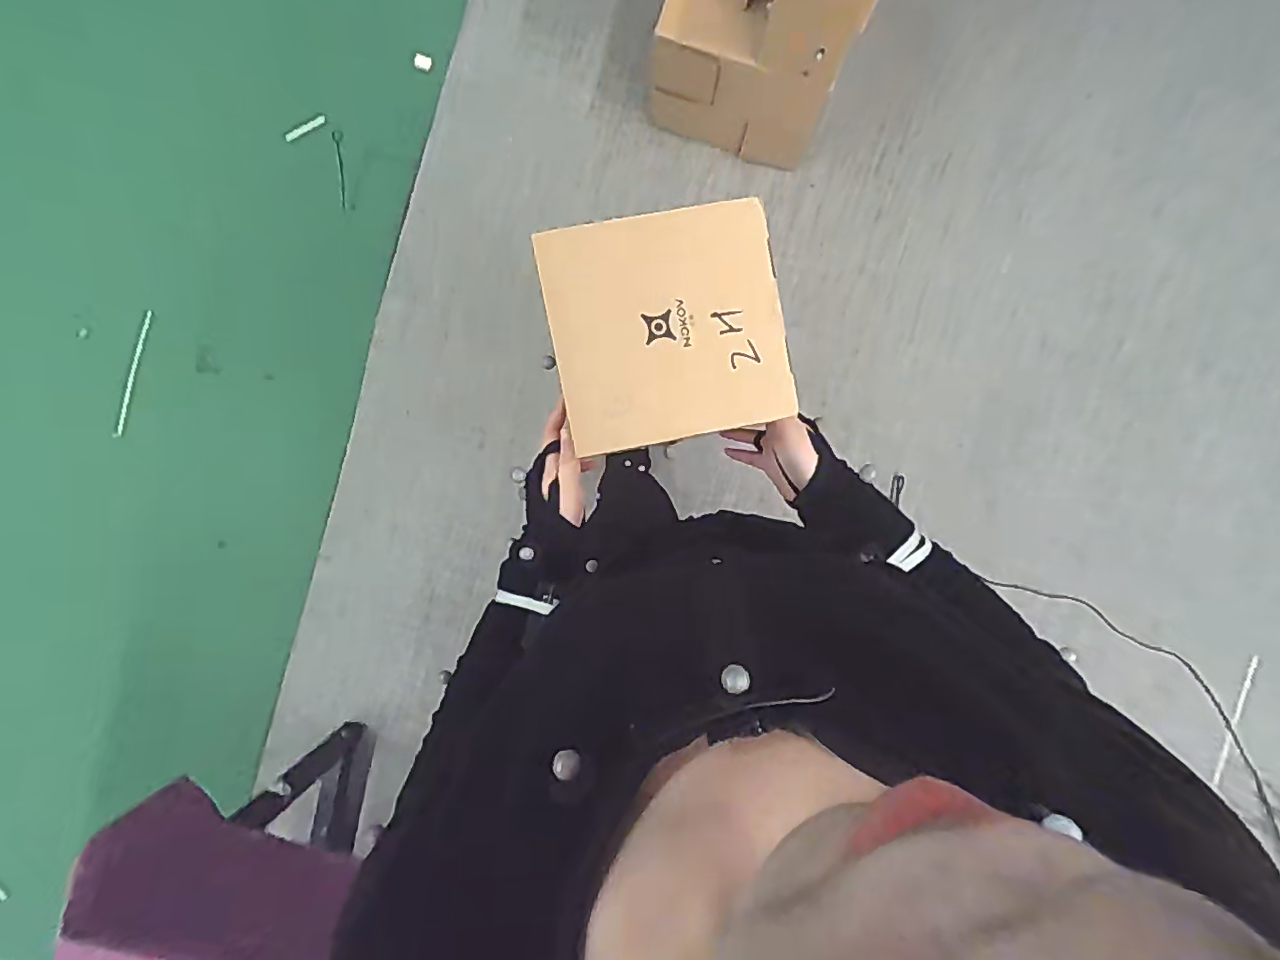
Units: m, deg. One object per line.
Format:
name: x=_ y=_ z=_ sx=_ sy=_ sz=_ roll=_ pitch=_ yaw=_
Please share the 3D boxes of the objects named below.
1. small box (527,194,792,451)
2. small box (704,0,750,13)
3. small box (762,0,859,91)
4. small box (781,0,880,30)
small box: x=0.011 y=-0.119 z=0.476 sx=0.179 sy=0.176 sz=0.168 roll=-11 pitch=94 yaw=-5
small box: x=0.175 y=-1.093 z=1.064 sx=0.168 sy=0.176 sz=0.179 roll=22 pitch=90 yaw=3
small box: x=0.351 y=-0.918 z=1.057 sx=0.168 sy=0.176 sz=0.179 roll=23 pitch=90 yaw=0
small box: x=0.353 y=-0.906 z=0.894 sx=0.179 sy=0.176 sz=0.168 roll=23 pitch=91 yaw=1
